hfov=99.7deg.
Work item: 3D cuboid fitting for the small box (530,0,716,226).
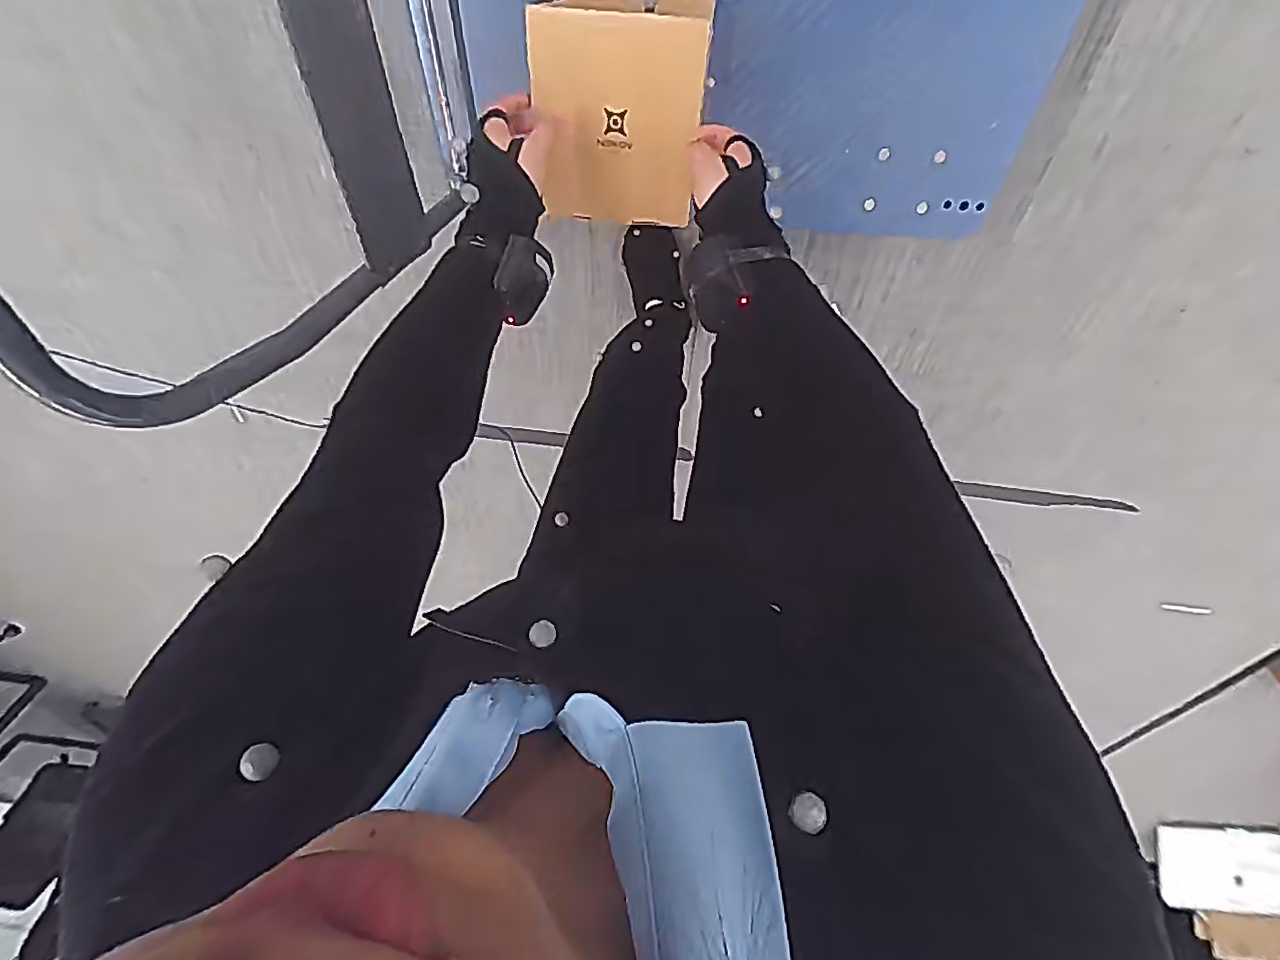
[{"bbox_3d":[-0.014,-0.398,0.581,0.168,0.176,0.179,6,134,2],"label":"small box"}]
